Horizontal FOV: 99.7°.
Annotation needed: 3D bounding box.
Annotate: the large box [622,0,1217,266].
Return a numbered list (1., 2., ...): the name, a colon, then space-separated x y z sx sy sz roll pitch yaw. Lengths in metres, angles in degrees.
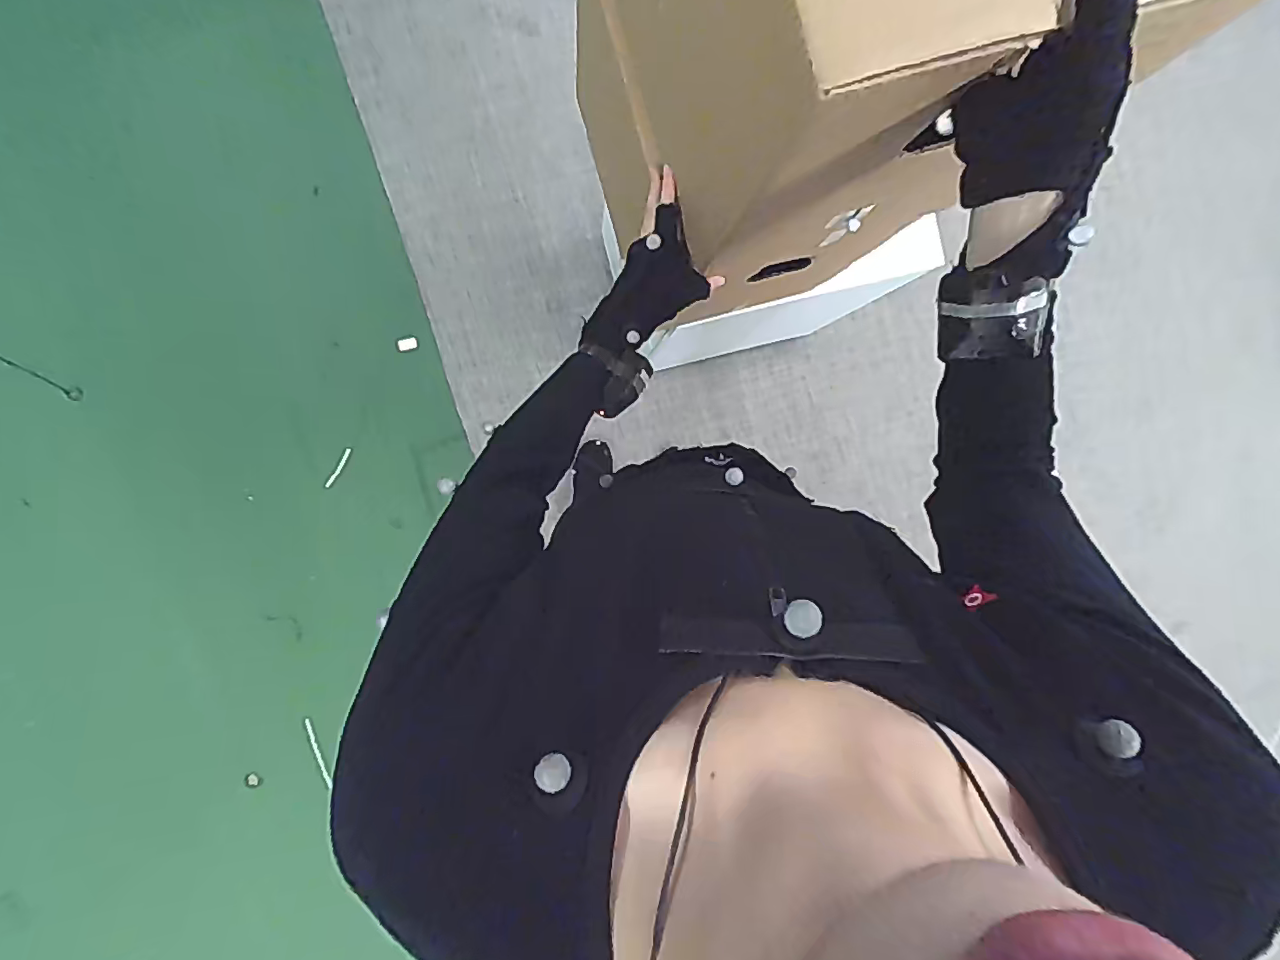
1. large box: 0.162 -0.451 0.428 0.320 0.320 0.408 -17 94 -5
